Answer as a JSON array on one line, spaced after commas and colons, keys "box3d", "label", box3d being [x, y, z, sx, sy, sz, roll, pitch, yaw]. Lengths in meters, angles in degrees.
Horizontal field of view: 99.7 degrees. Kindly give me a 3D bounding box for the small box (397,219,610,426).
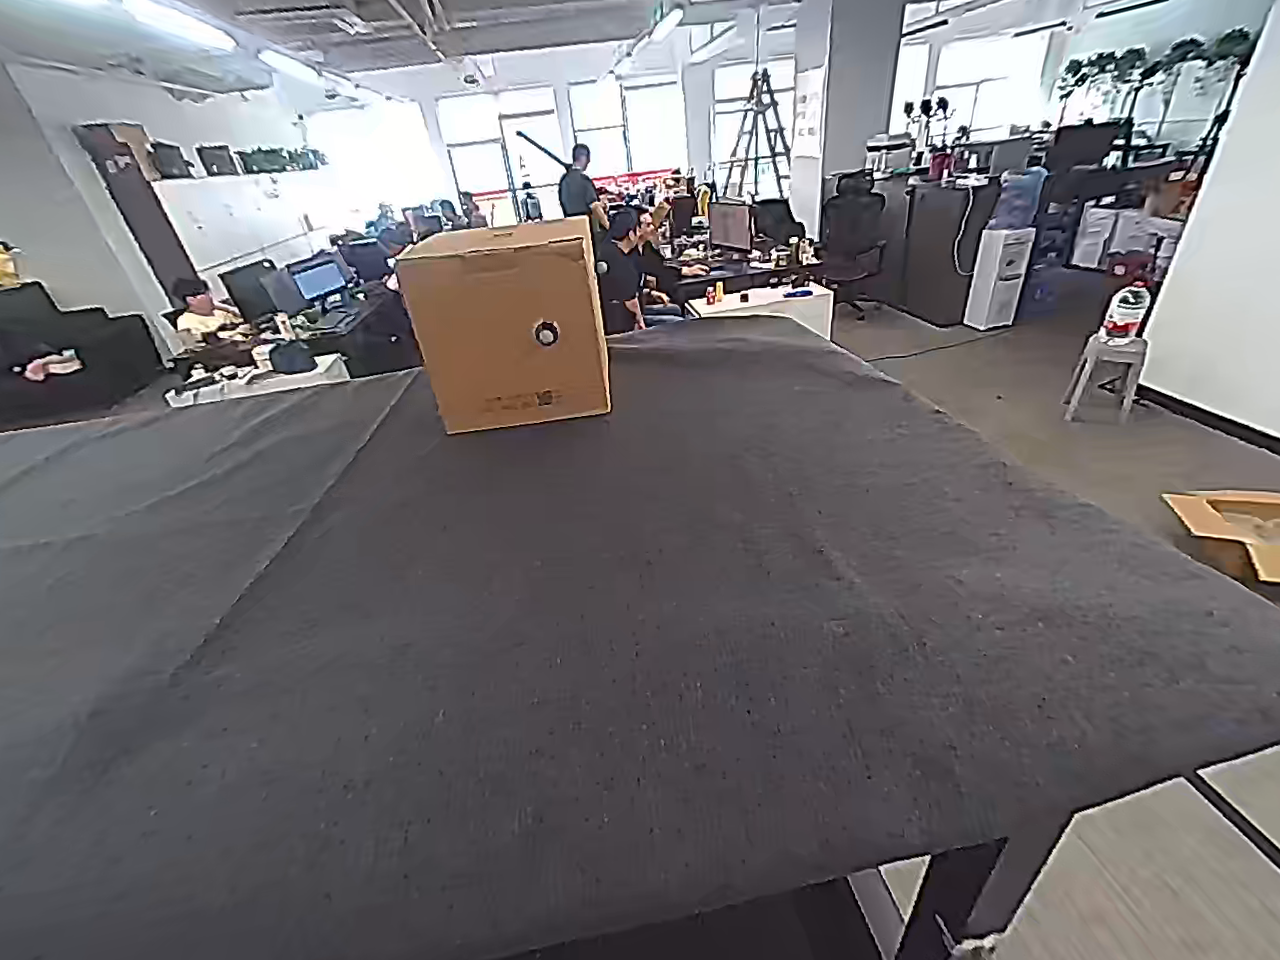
[{"box3d": [-0.123, -0.163, 0.567, 0.168, 0.176, 0.179, -6, 31, -1], "label": "small box"}]
